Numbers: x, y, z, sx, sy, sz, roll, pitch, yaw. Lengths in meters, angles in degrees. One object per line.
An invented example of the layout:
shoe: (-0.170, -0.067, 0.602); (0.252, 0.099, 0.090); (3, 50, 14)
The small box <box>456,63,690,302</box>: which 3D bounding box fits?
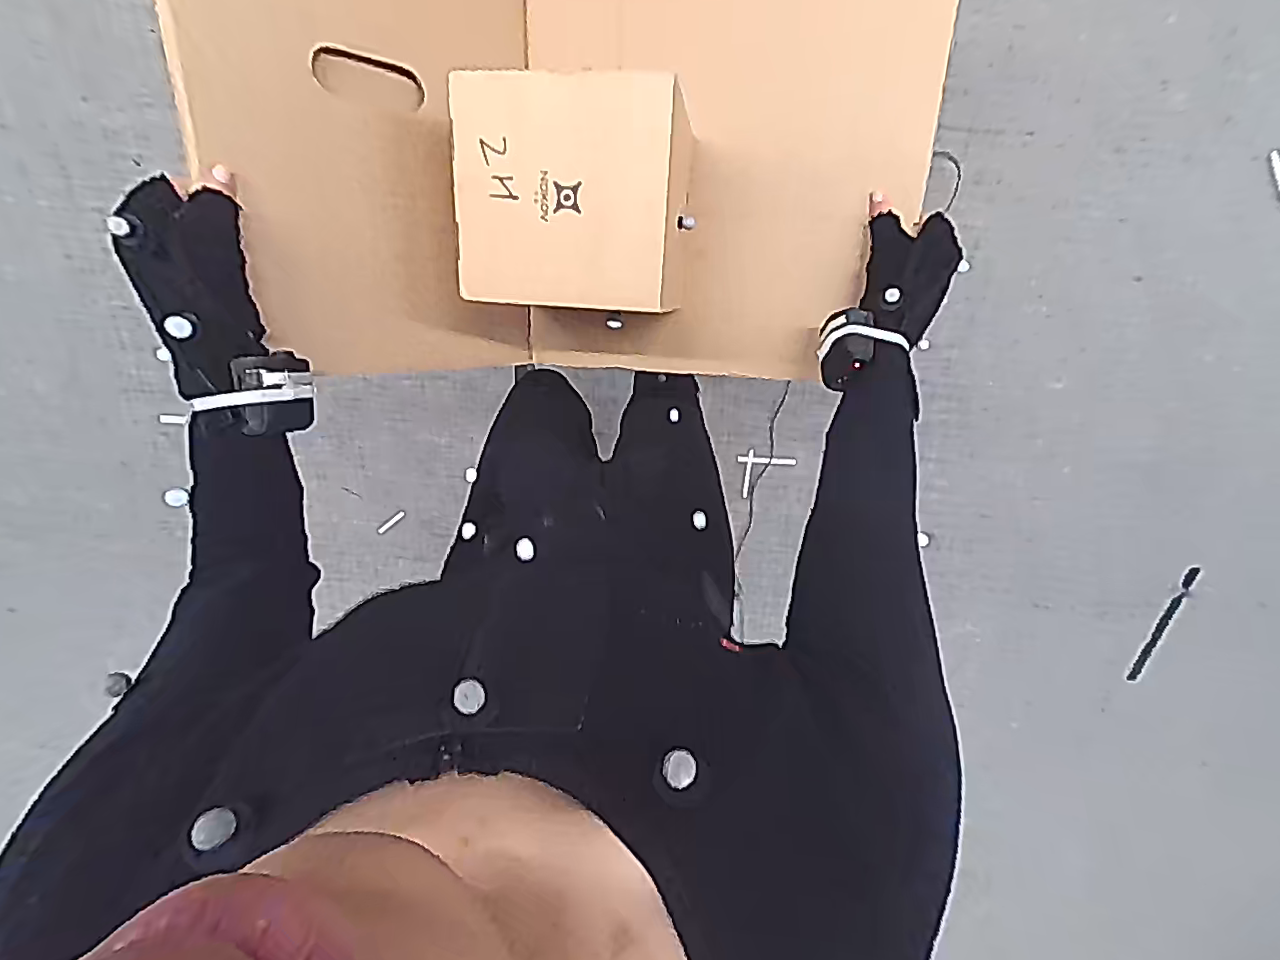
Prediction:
small box: (-0.050, -0.262, 0.509); (0.179, 0.176, 0.168); (7, 109, 8)
